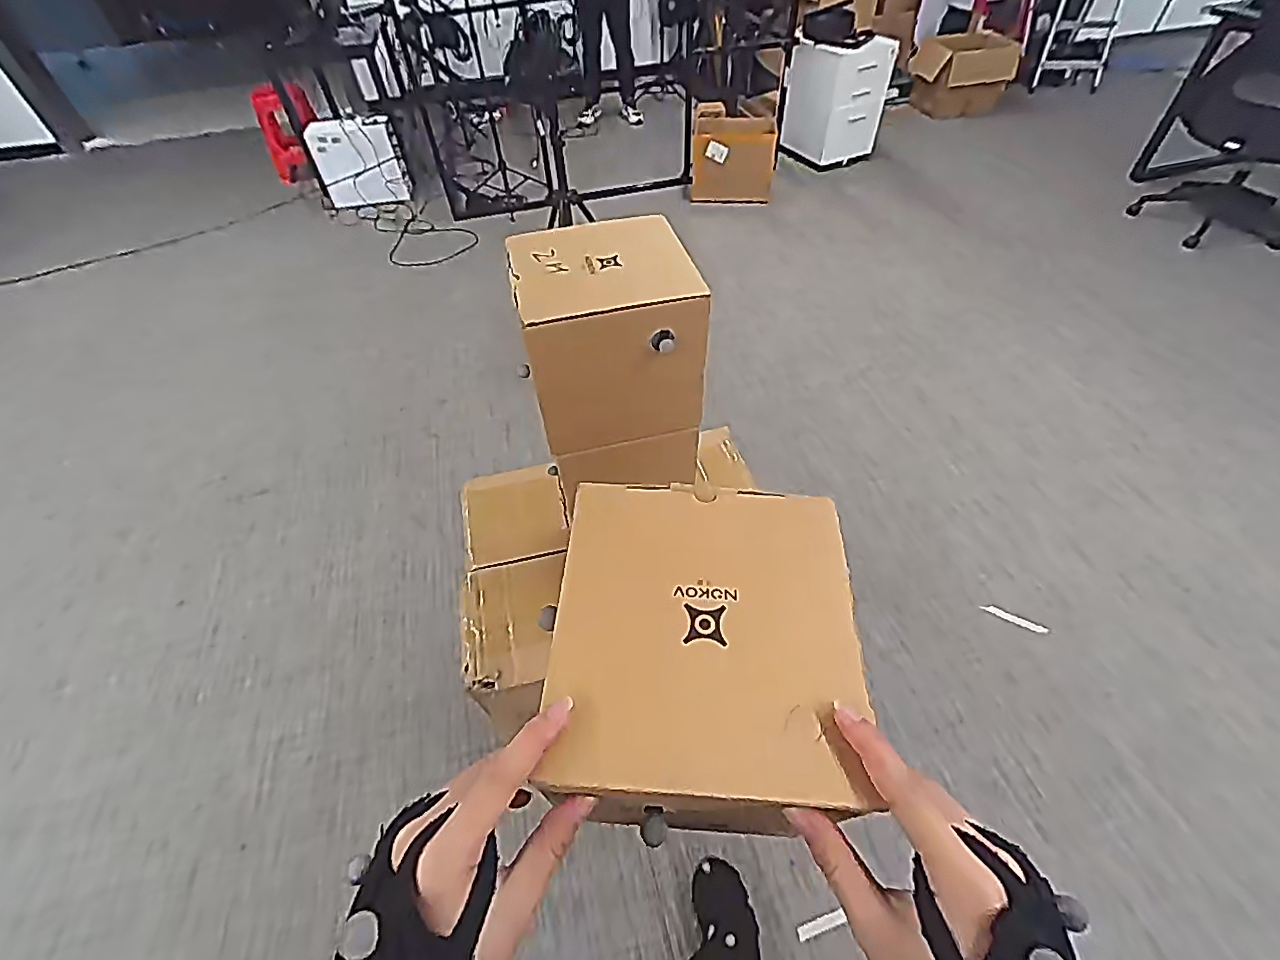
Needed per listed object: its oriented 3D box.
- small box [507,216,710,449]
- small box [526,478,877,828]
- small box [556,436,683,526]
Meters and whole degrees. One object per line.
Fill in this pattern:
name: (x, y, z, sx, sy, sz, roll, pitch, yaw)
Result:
small box: (-0.036, -0.158, 0.590, 0.179, 0.176, 0.168, -12, 50, -7)
small box: (0.035, 0.119, 0.361, 0.168, 0.176, 0.179, 3, 51, 3)
small box: (-0.022, 0.061, 0.836, 0.179, 0.176, 0.168, -12, 50, -8)
